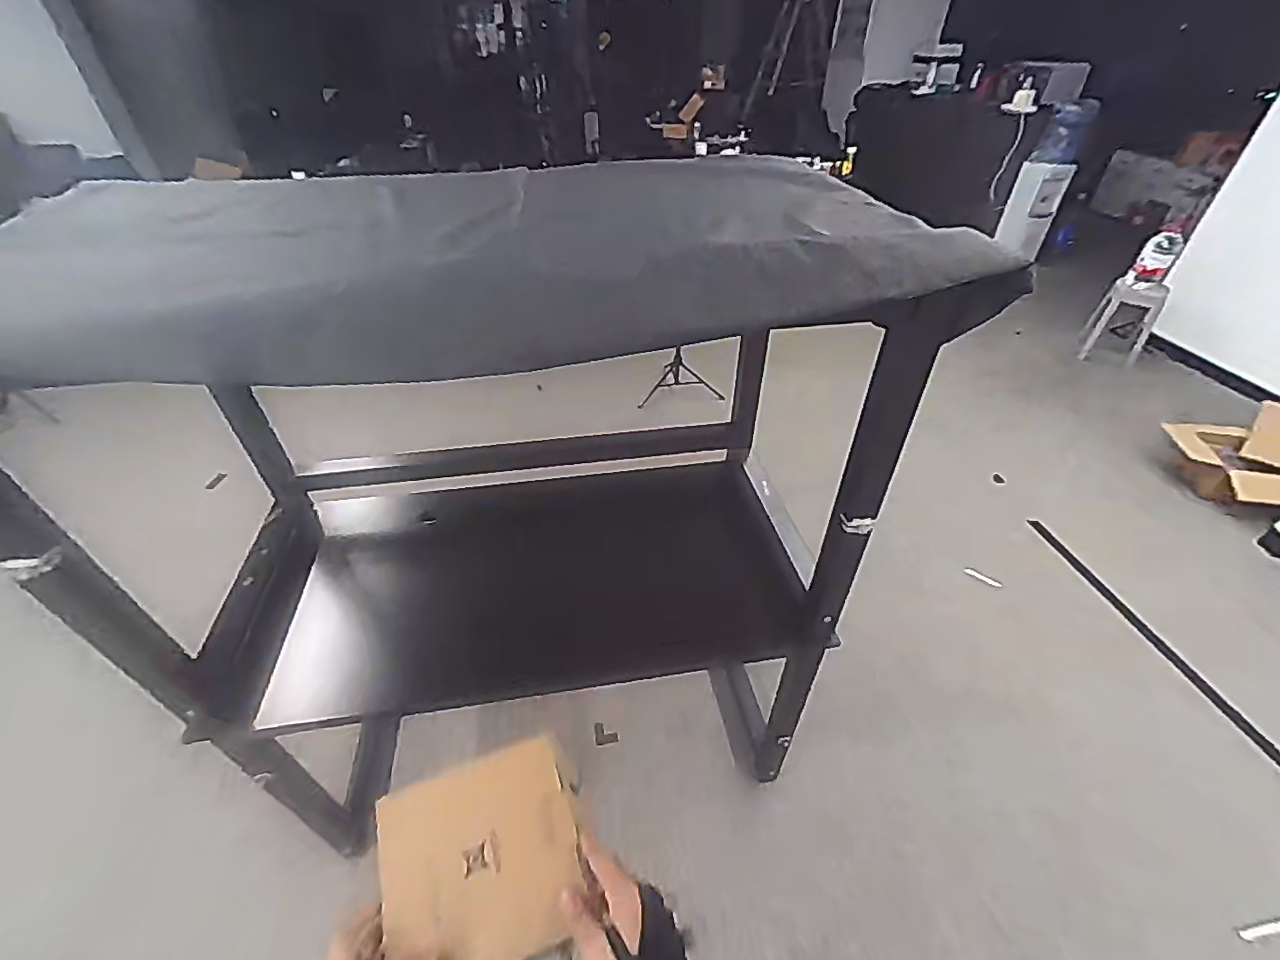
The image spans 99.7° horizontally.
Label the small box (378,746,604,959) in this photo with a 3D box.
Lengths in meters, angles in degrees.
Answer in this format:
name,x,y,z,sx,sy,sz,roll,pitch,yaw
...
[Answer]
name,x,y,z,sx,sy,sz,roll,pitch,yaw
small box,-0.141,0.402,0.545,0.179,0.176,0.168,-17,49,-10
